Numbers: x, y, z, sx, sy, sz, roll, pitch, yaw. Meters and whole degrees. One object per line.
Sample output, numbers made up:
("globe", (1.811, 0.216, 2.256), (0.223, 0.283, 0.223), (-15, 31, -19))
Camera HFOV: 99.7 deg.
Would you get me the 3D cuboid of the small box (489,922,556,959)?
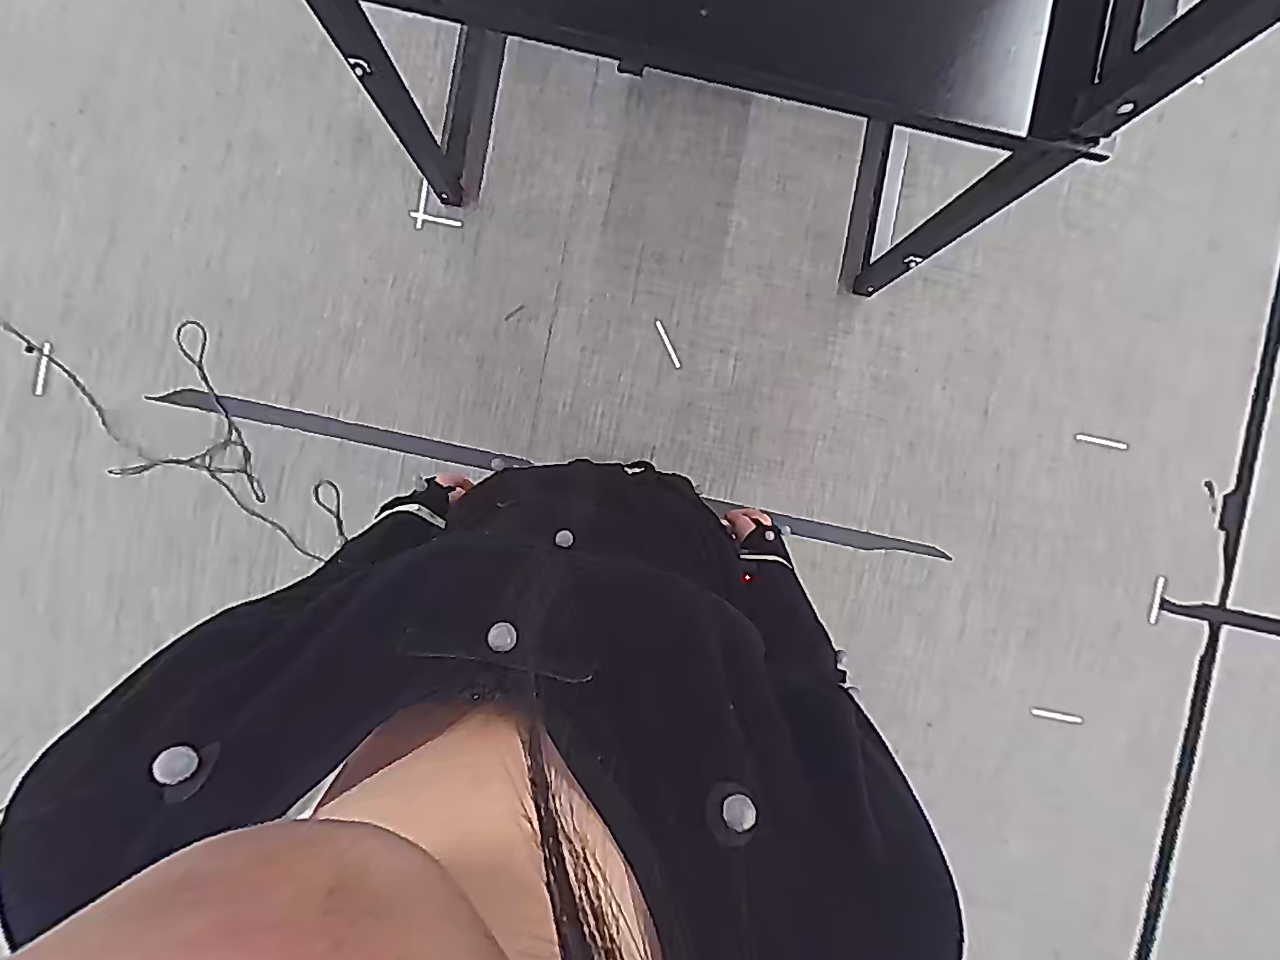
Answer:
("small box", (-0.312, 1.305, 1.417), (0.168, 0.176, 0.179), (2, 91, -4))
